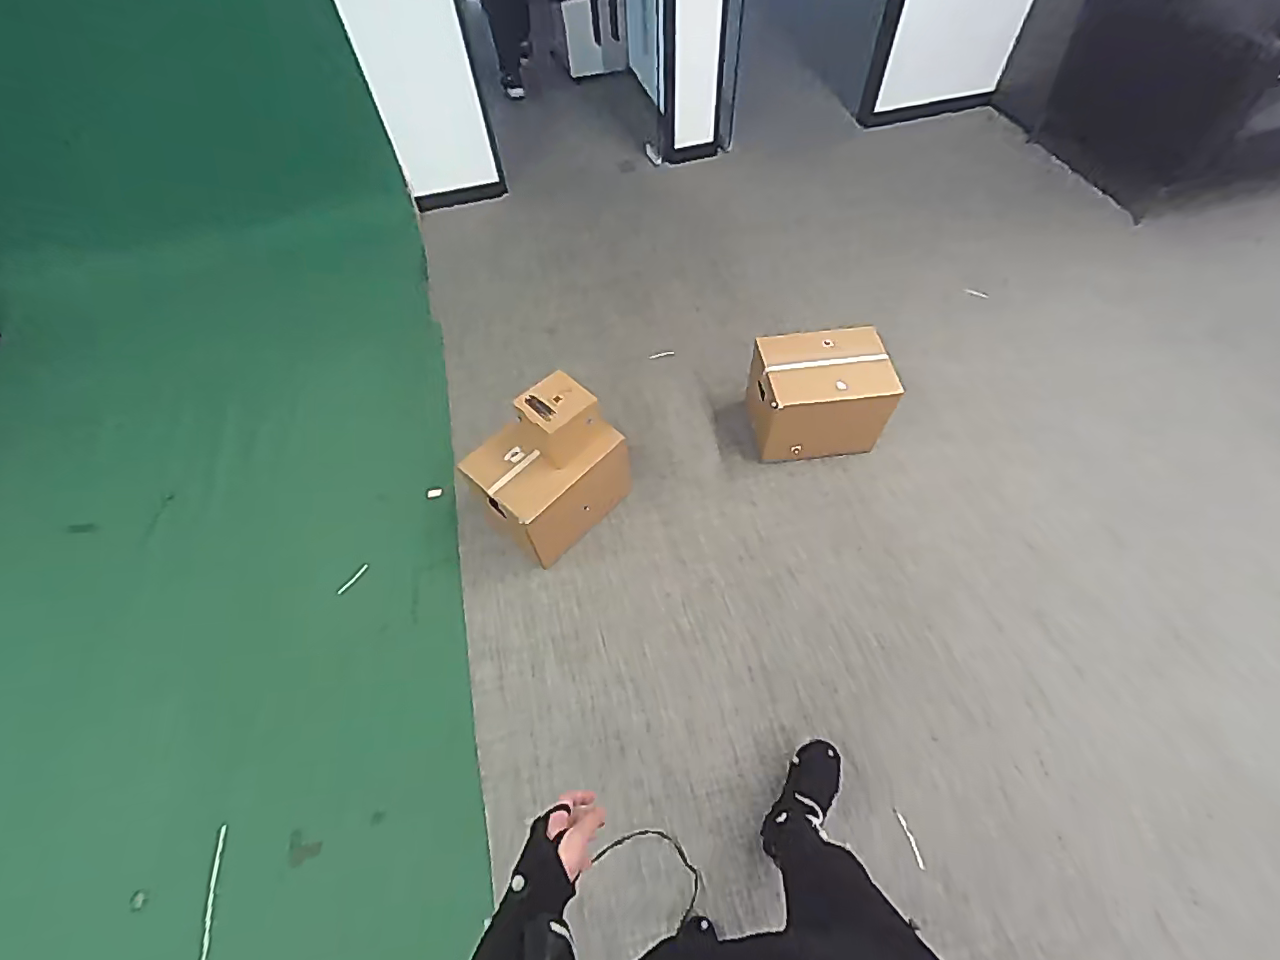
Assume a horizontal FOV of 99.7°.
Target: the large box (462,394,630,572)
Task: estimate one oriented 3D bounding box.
[{"bbox_3d":[-0.278,0.009,1.732,0.320,0.320,0.408,35,66,24],"label":"large box"}]
